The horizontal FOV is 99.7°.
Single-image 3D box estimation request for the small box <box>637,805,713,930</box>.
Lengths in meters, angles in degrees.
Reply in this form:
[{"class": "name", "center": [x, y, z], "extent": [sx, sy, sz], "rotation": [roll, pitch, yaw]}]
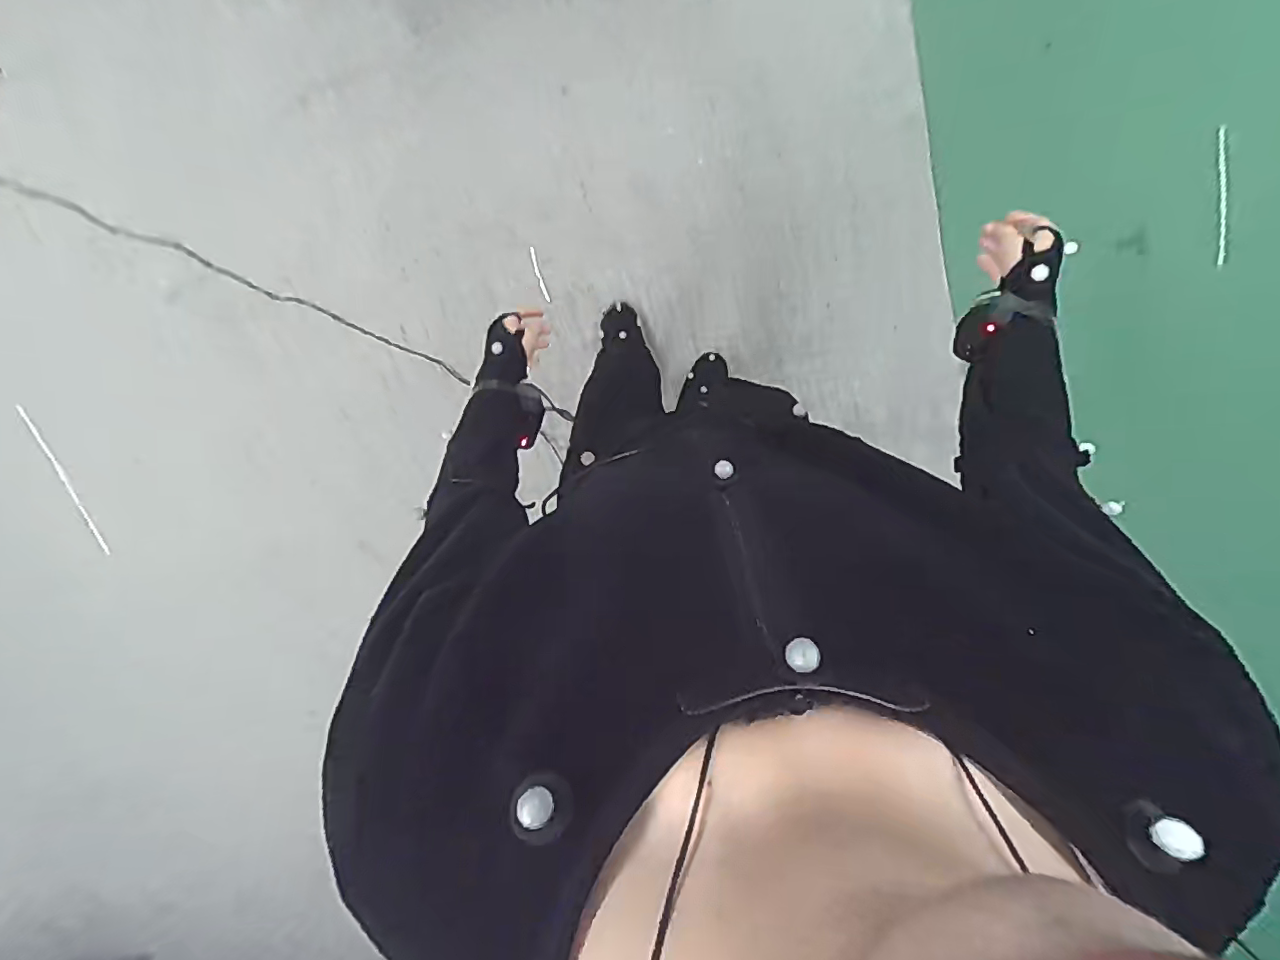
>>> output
[{"class": "small box", "center": [0.083, 0.894, 1.255], "extent": [0.168, 0.176, 0.179], "rotation": [-3, 104, 3]}]
